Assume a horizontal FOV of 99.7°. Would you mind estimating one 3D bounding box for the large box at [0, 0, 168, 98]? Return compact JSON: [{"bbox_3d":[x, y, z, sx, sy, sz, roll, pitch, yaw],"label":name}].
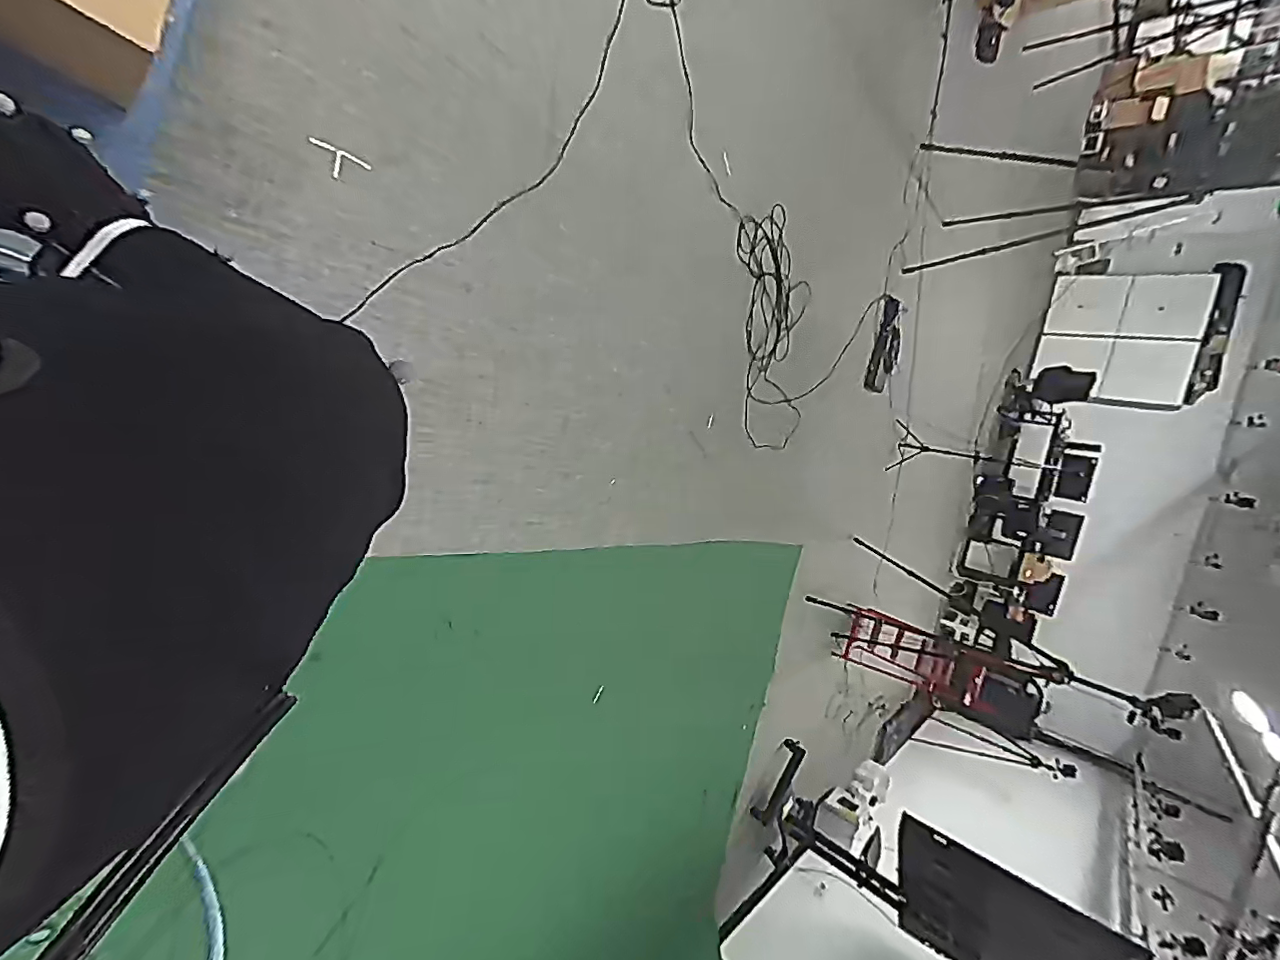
[{"bbox_3d":[-0.818,-0.765,0.643,0.408,0.320,0.320,15,91,-48],"label":"large box"}]
